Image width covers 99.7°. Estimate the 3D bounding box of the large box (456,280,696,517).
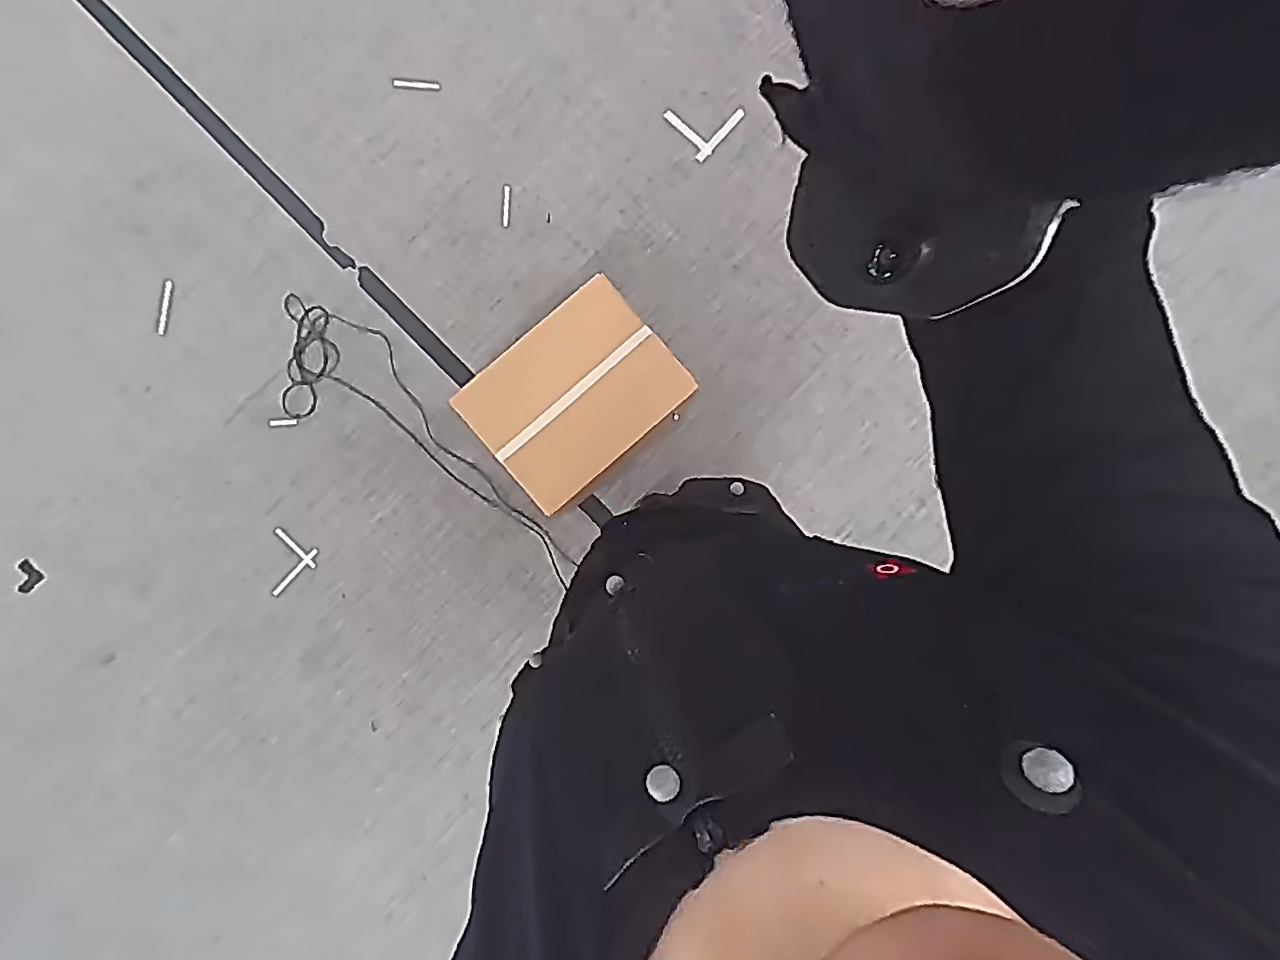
[{"bbox_3d":[-0.129,-0.164,1.245,0.408,0.320,0.320,-41,88,-2],"label":"large box"}]
